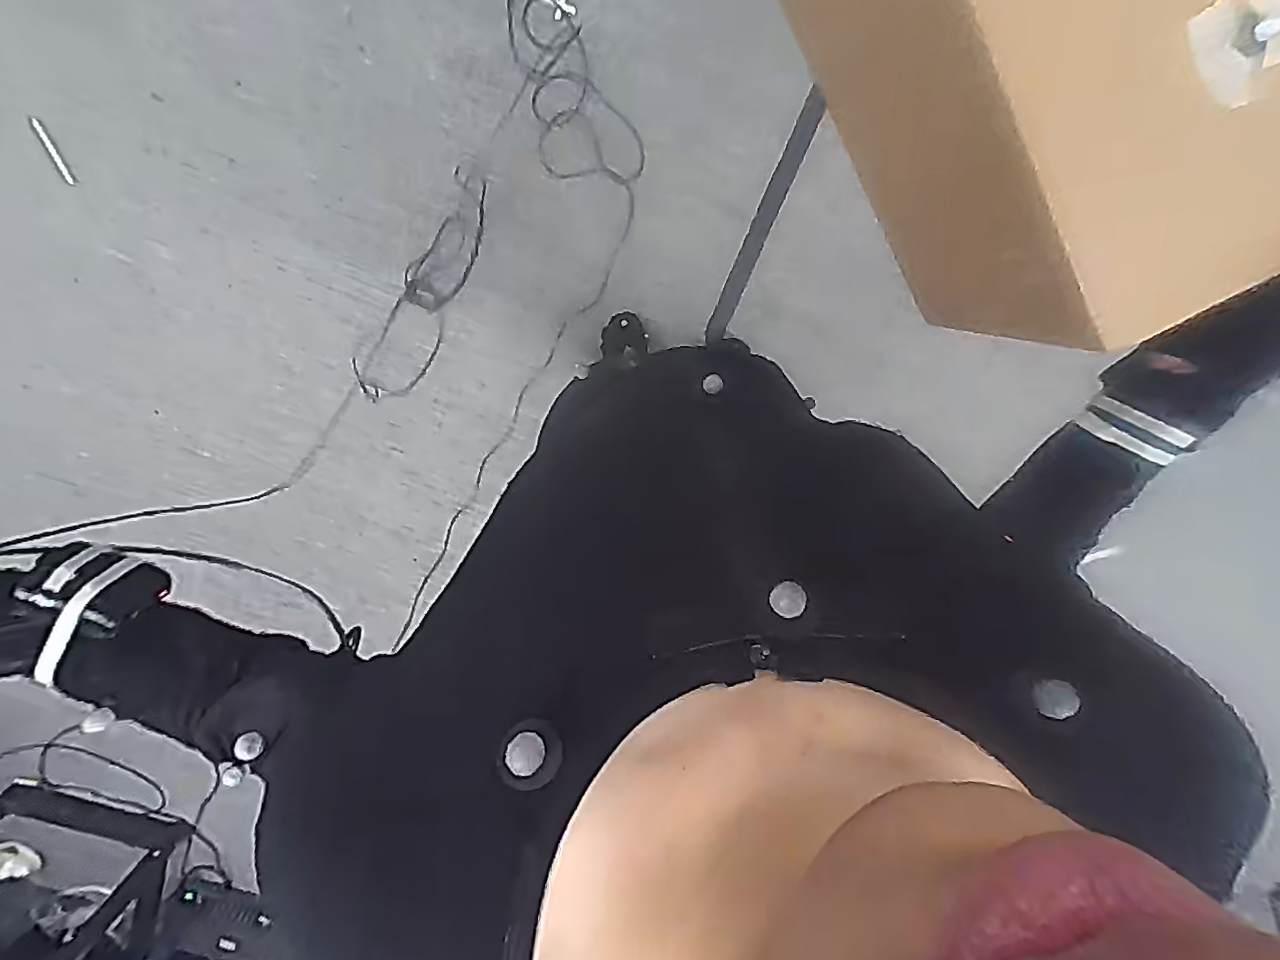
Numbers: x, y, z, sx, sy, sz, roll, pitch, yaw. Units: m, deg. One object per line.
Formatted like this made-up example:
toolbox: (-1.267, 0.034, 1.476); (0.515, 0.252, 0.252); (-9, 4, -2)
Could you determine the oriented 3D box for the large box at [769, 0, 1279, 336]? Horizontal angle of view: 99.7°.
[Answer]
large box: (0.348, -0.382, 0.433); (0.320, 0.320, 0.408); (-30, 105, 16)
